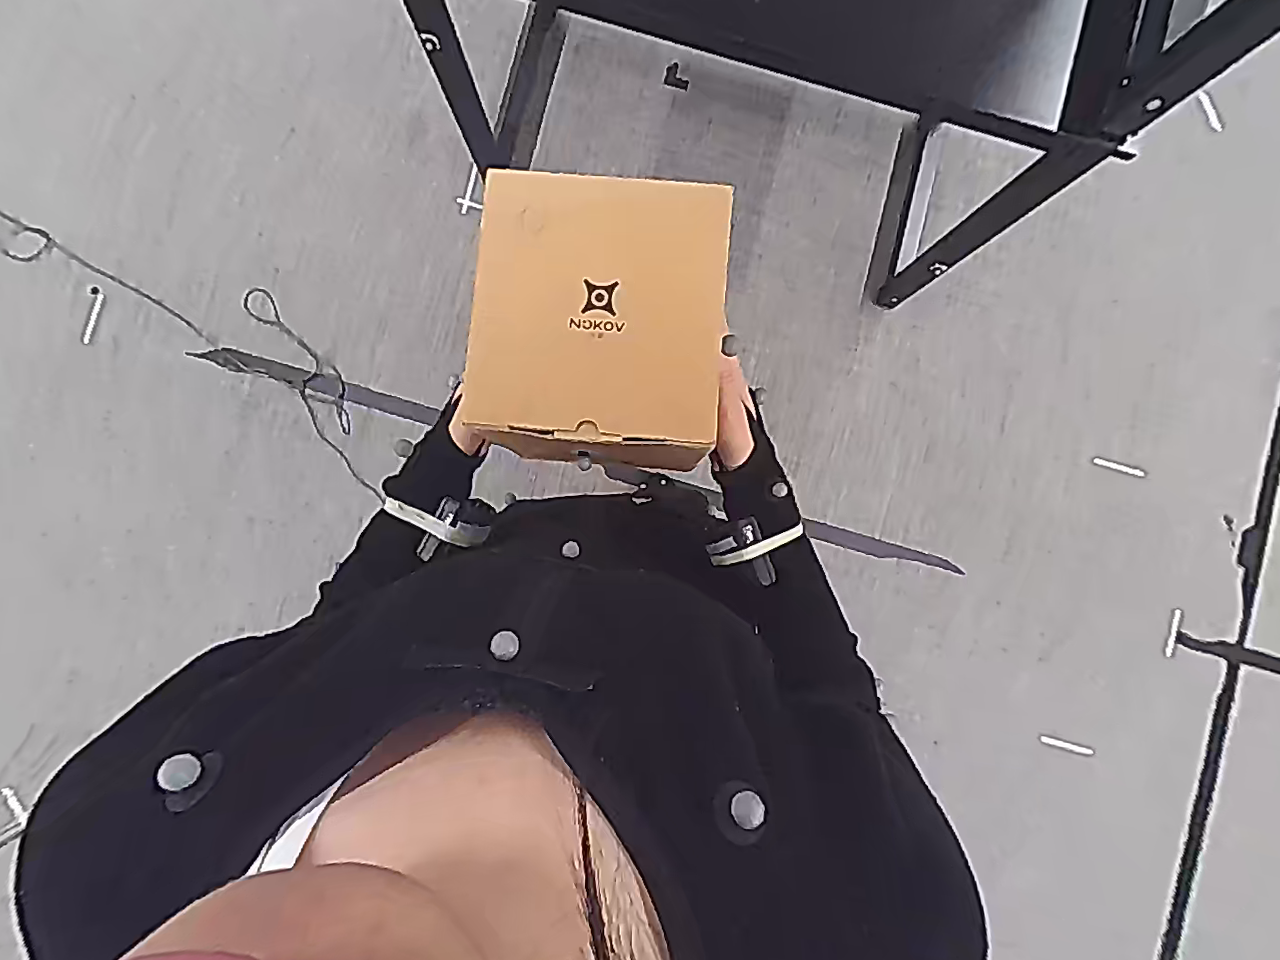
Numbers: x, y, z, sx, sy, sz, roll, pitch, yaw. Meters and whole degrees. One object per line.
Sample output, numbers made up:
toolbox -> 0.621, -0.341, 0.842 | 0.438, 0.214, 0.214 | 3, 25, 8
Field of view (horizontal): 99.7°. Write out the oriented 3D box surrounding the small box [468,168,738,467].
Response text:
small box -> -0.024, -0.109, 0.432 | 0.168, 0.176, 0.179 | 4, 87, 1
